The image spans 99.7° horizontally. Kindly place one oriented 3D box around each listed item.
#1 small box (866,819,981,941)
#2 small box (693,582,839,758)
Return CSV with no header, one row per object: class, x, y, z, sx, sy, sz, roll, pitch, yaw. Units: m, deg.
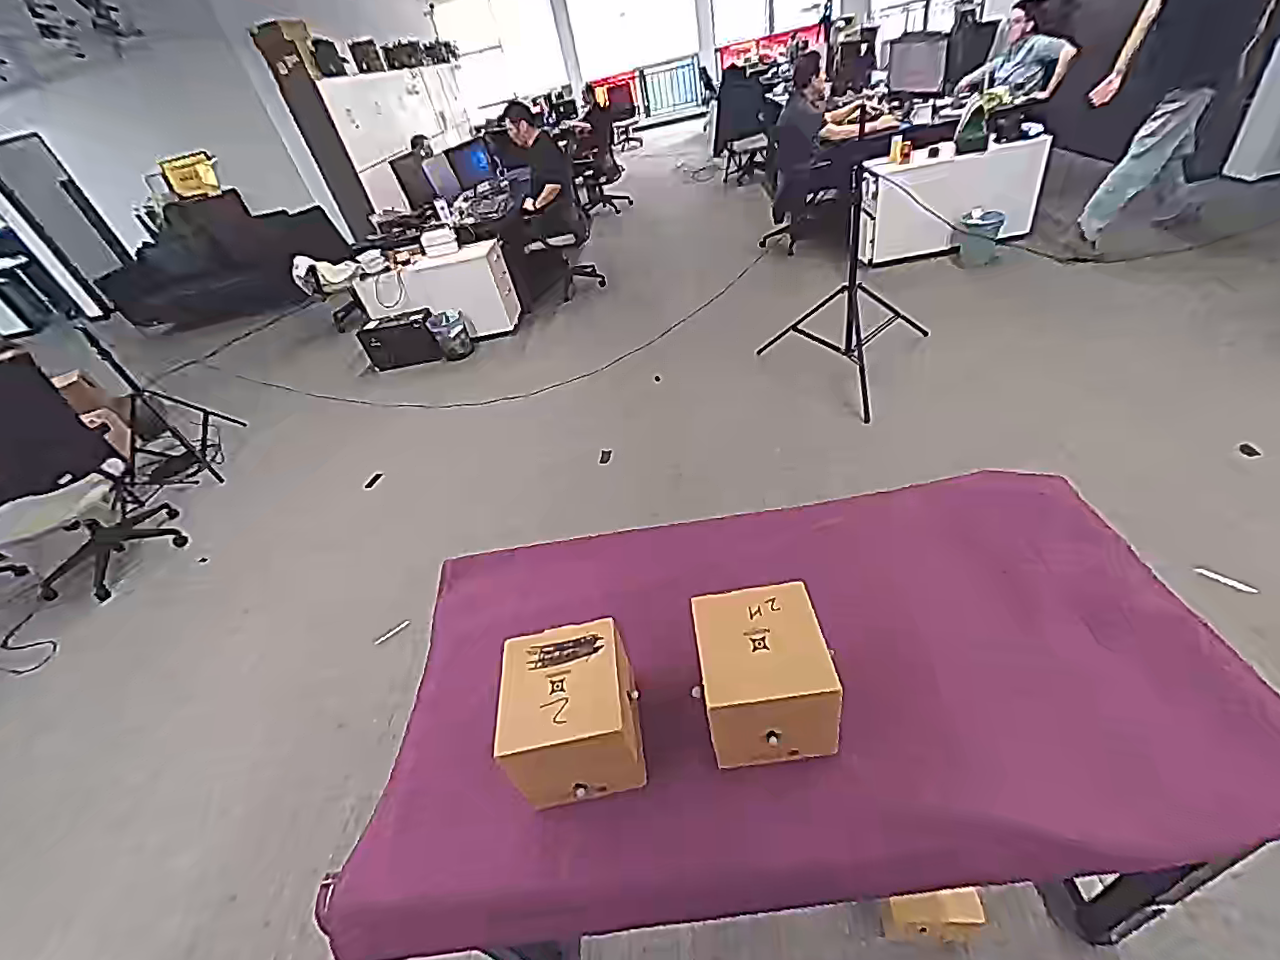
small box,0.583,0.839,1.135,0.168,0.176,0.179,-6,38,10
small box,0.175,0.275,0.772,0.168,0.176,0.179,-9,37,4
